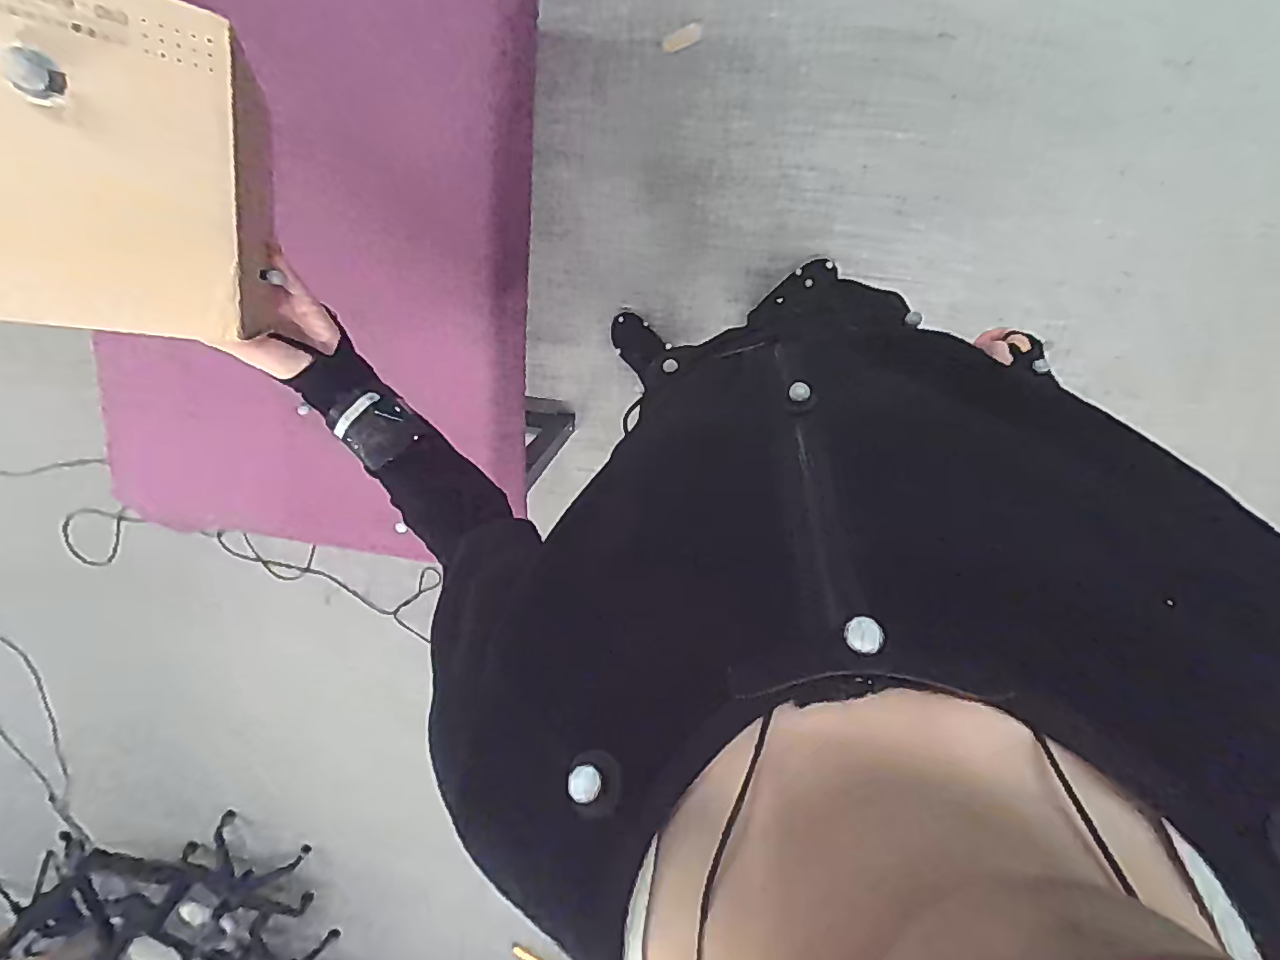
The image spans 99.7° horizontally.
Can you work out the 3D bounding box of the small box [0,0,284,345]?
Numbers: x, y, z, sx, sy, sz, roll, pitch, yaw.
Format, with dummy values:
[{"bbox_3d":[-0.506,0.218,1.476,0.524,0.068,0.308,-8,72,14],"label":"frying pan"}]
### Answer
[{"bbox_3d":[-0.318,-0.186,0.324,0.168,0.179,0.176,0,108,-28],"label":"small box"}]
